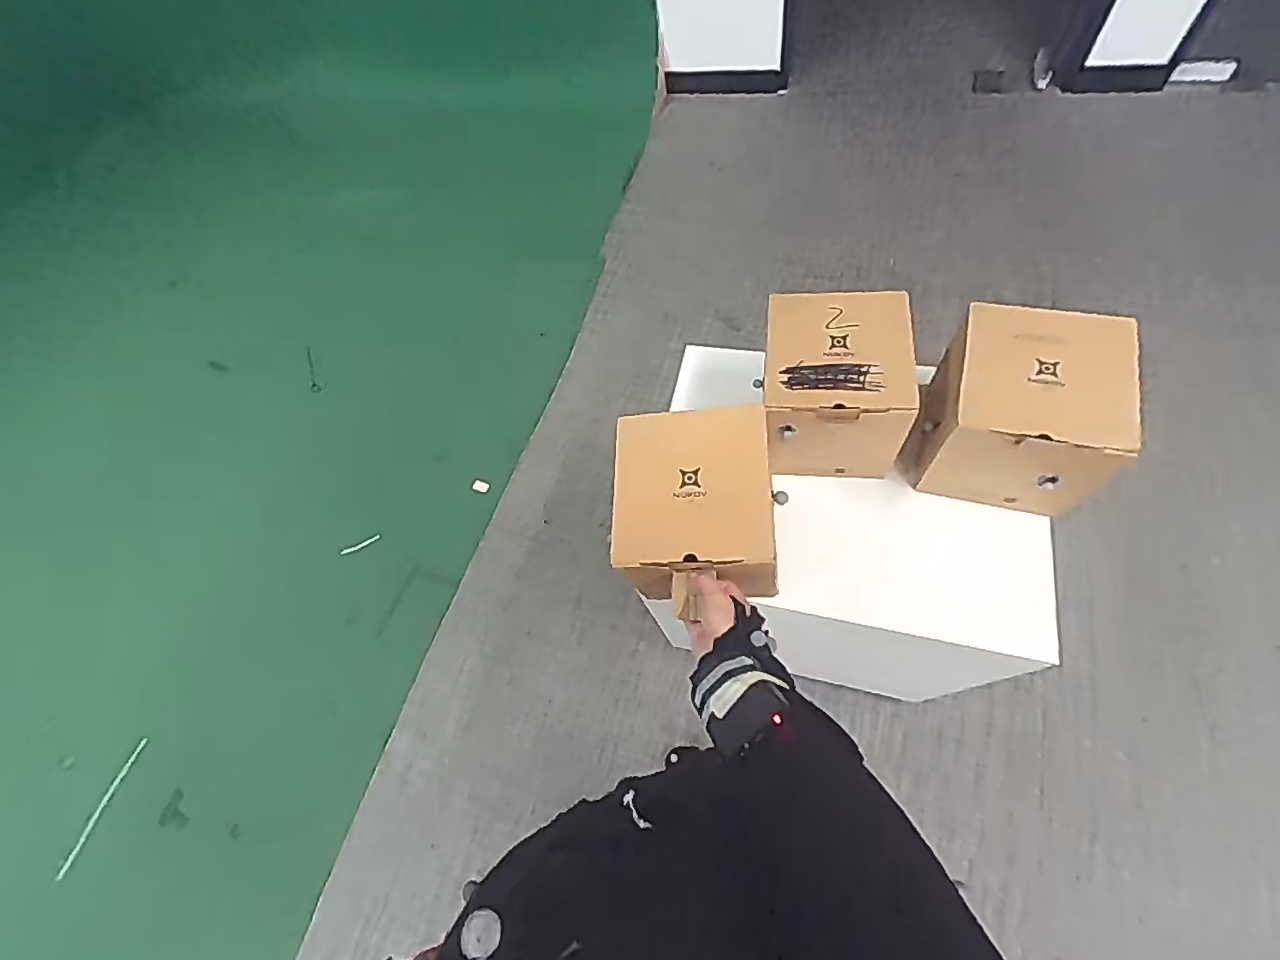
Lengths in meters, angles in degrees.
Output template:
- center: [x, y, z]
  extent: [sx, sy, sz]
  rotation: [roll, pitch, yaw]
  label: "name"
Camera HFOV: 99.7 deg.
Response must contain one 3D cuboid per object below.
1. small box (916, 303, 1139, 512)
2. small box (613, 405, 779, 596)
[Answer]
- center: [0.447, -0.080, 0.648]
  extent: [0.168, 0.176, 0.179]
  rotation: [12, 66, 15]
  label: "small box"
- center: [0.072, 0.033, 0.634]
  extent: [0.168, 0.176, 0.179]
  rotation: [-4, 67, 12]
  label: "small box"
